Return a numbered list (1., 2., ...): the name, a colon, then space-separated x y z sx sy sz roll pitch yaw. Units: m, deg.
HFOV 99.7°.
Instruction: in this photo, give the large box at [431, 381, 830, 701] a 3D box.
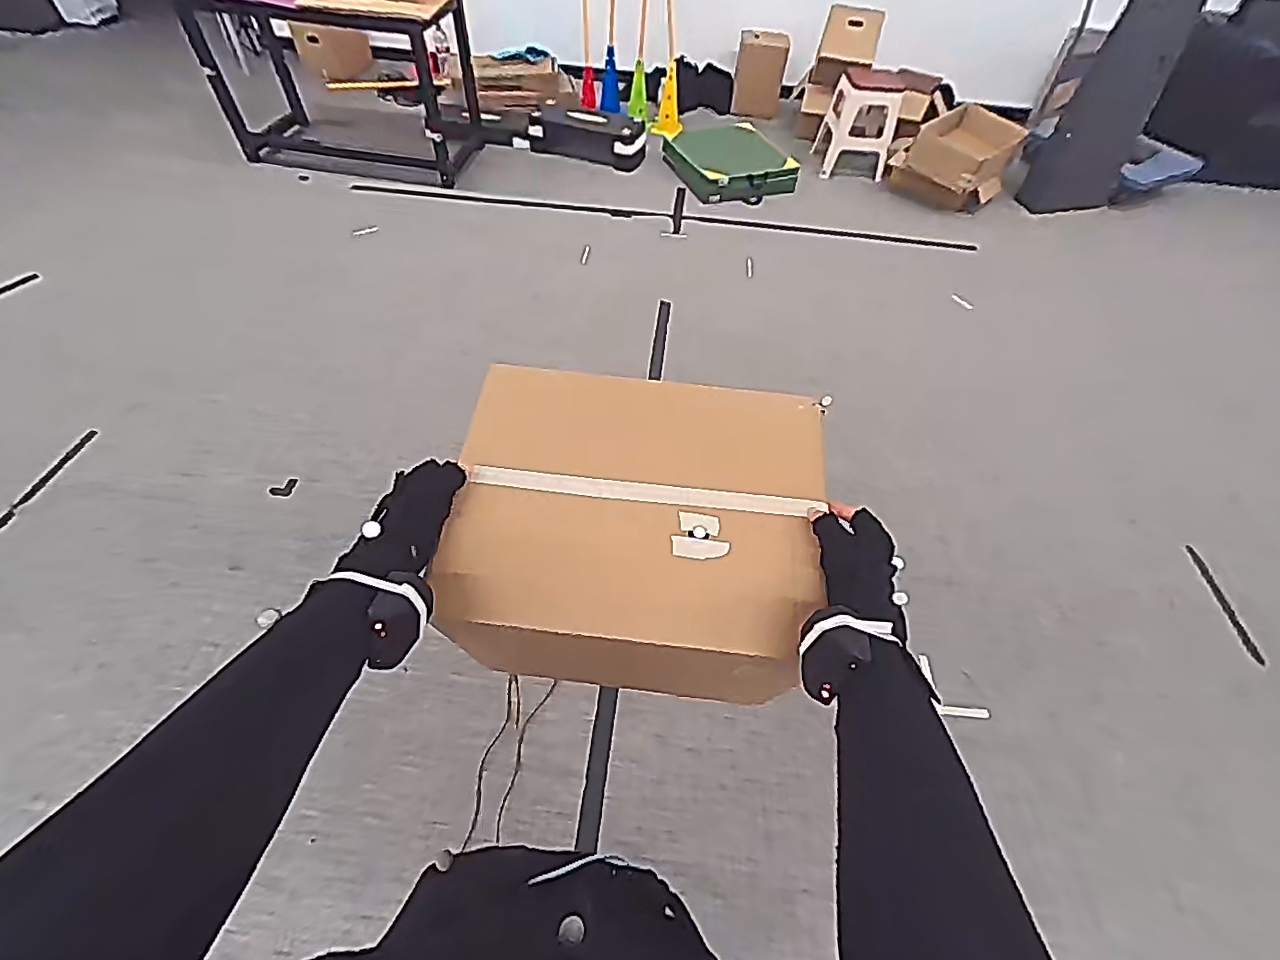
1. large box: -0.004 0.099 0.729 0.408 0.320 0.320 6 62 1
